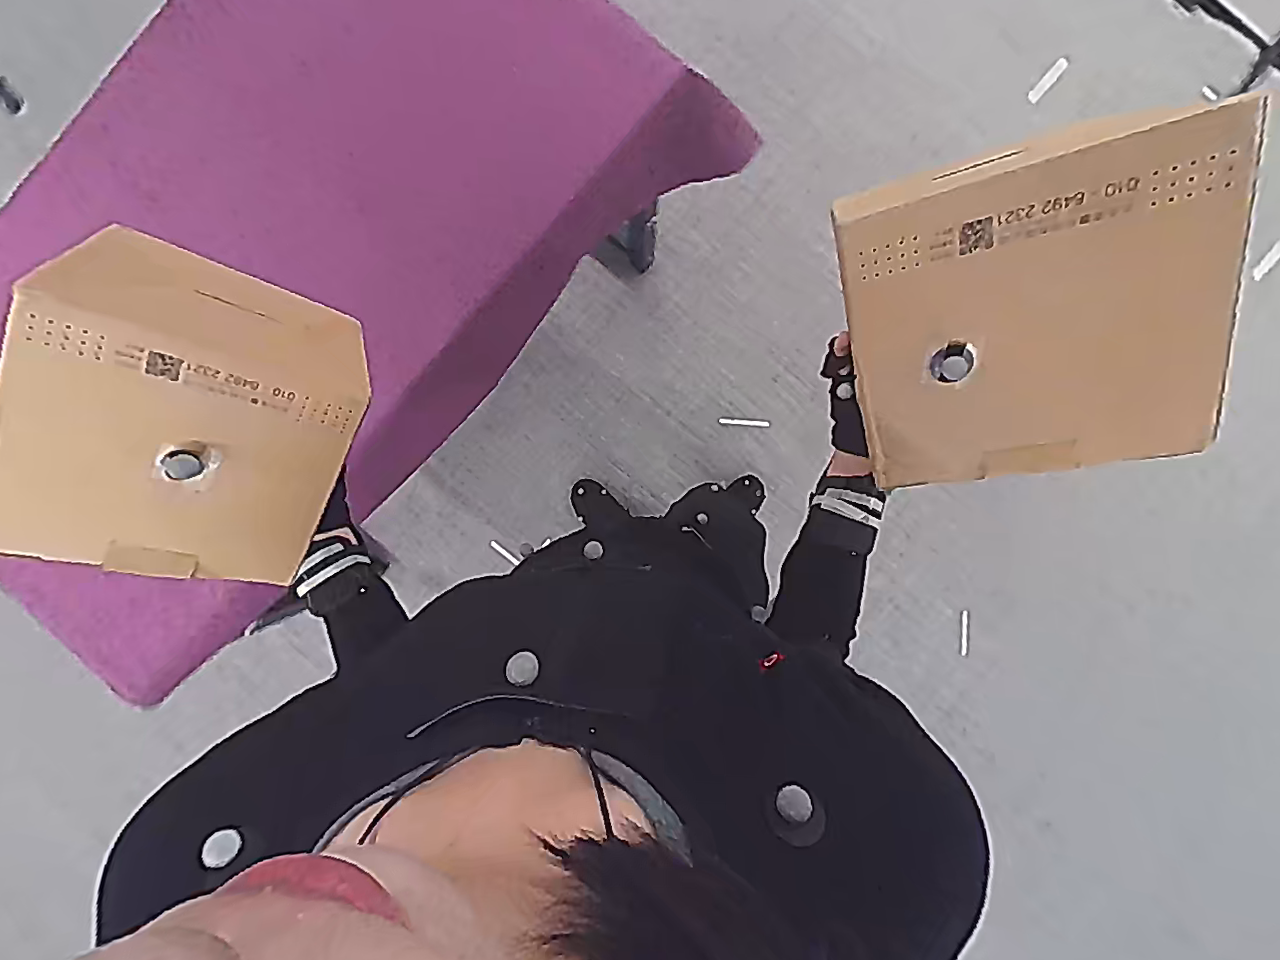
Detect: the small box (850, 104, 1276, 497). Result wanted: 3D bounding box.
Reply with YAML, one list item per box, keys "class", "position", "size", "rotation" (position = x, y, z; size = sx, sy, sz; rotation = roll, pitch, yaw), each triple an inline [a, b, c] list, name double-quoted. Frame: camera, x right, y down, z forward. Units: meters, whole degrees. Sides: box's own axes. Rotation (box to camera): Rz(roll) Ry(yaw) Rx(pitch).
- class: "small box"
  position: [0.230, -0.111, 0.341]
  size: [0.168, 0.179, 0.176]
  rotation: [-6, 117, 22]

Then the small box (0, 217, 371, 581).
- class: "small box"
  position: [-0.308, -0.058, 0.382]
  size: [0.168, 0.179, 0.176]
  rotation: [21, 109, -38]
